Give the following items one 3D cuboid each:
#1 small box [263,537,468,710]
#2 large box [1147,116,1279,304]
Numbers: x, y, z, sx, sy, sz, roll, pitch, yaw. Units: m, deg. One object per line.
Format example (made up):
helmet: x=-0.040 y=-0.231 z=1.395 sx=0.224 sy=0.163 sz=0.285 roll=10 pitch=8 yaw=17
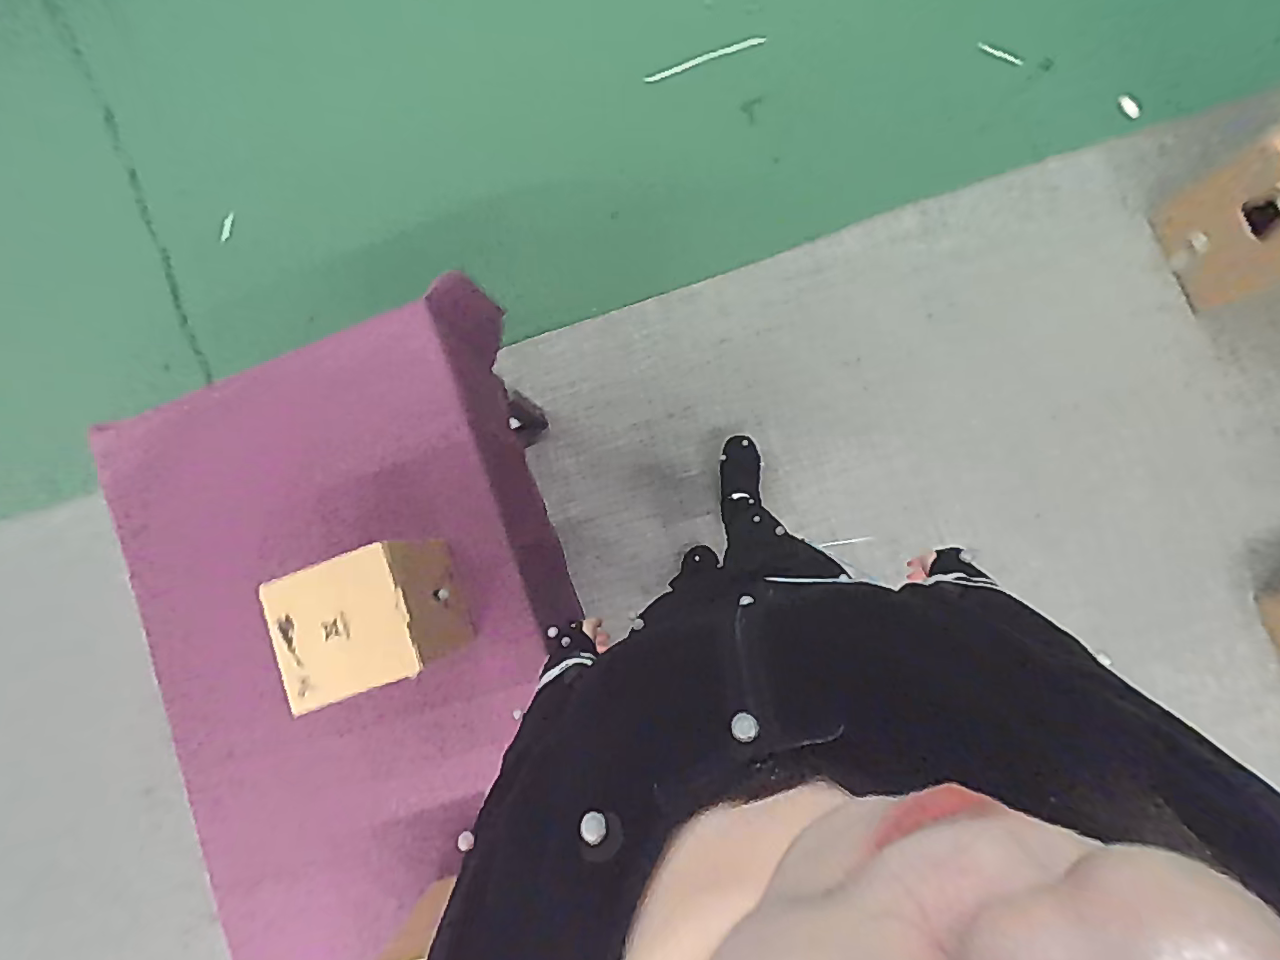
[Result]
small box: x=-0.356 y=0.182 z=0.741 sx=0.179 sy=0.176 sz=0.168 roll=-20 pitch=84 yaw=3
large box: x=1.590 y=-0.683 z=1.294 sx=0.408 sy=0.320 sz=0.320 roll=-20 pitch=84 yaw=2
